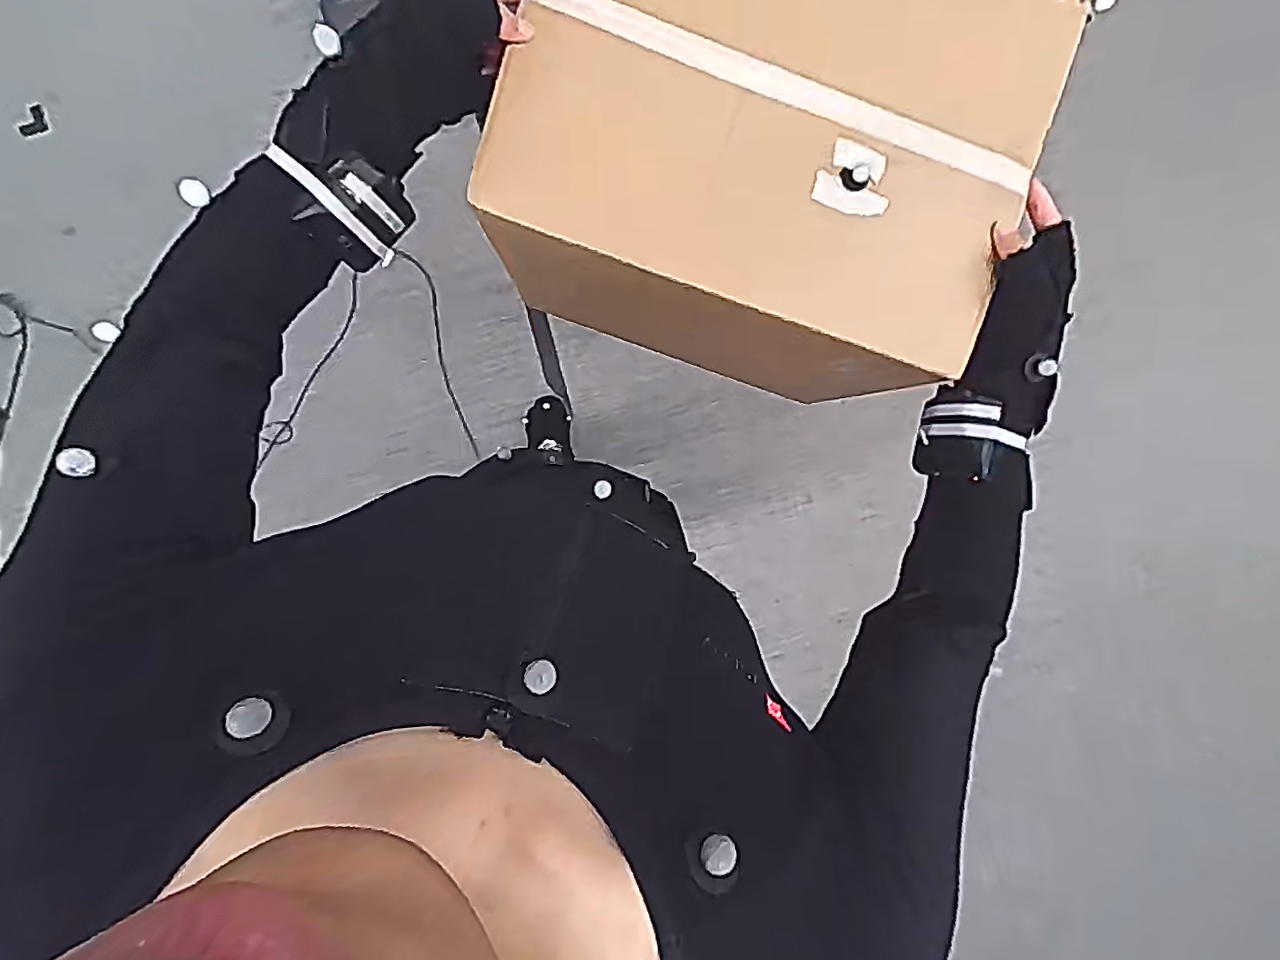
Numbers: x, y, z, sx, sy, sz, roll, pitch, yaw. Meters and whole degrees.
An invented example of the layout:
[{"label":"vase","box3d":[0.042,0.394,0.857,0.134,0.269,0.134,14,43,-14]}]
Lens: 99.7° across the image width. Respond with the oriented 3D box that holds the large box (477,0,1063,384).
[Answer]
[{"label":"large box","box3d":[0.093,-0.315,0.561,0.408,0.320,0.320,17,94,-6]}]
